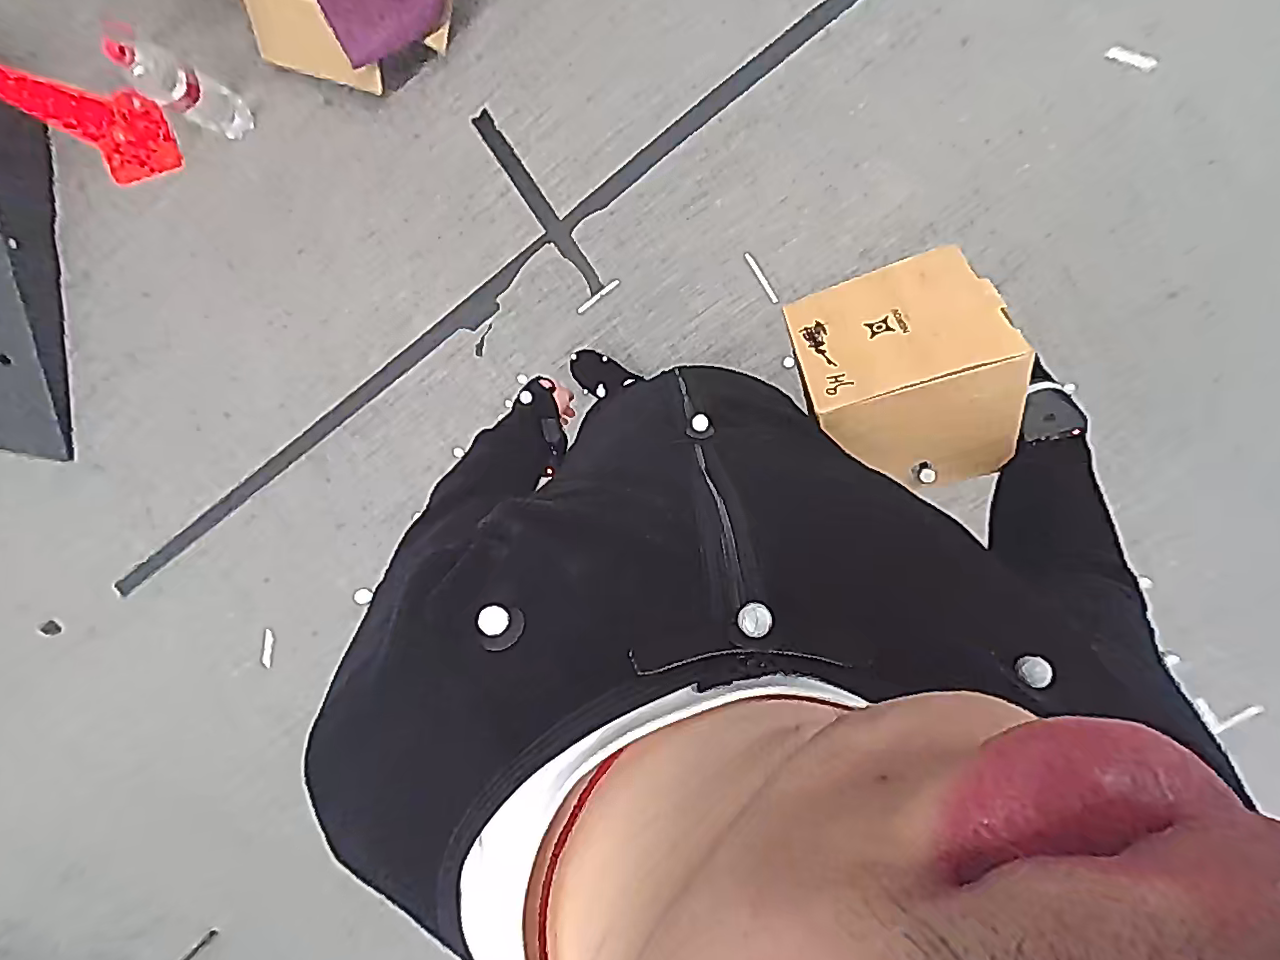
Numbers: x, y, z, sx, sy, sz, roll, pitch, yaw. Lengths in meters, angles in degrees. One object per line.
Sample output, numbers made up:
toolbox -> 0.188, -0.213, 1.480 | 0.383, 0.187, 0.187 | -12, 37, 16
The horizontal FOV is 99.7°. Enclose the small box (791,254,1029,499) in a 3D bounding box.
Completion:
small box -> 0.277, -0.102, 0.588 | 0.179, 0.168, 0.176 | -15, 140, 16
